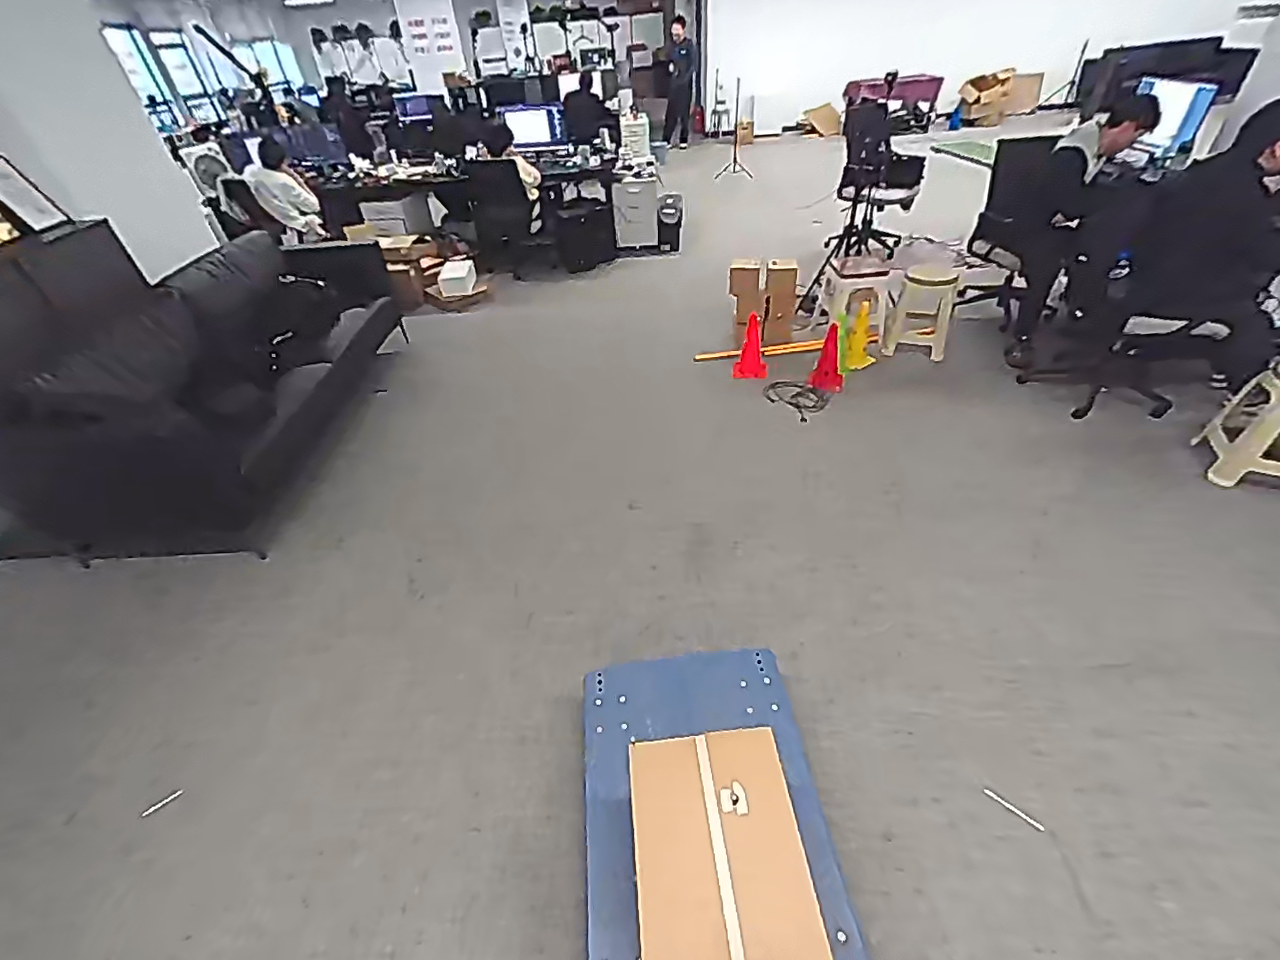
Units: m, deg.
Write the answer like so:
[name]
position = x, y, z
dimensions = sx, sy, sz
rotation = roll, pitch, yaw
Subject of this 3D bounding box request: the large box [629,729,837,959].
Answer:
[large box]
position = 0.162, 0.795, 1.102
dimensions = 0.320, 0.320, 0.408
rotation = -7, 39, -1
